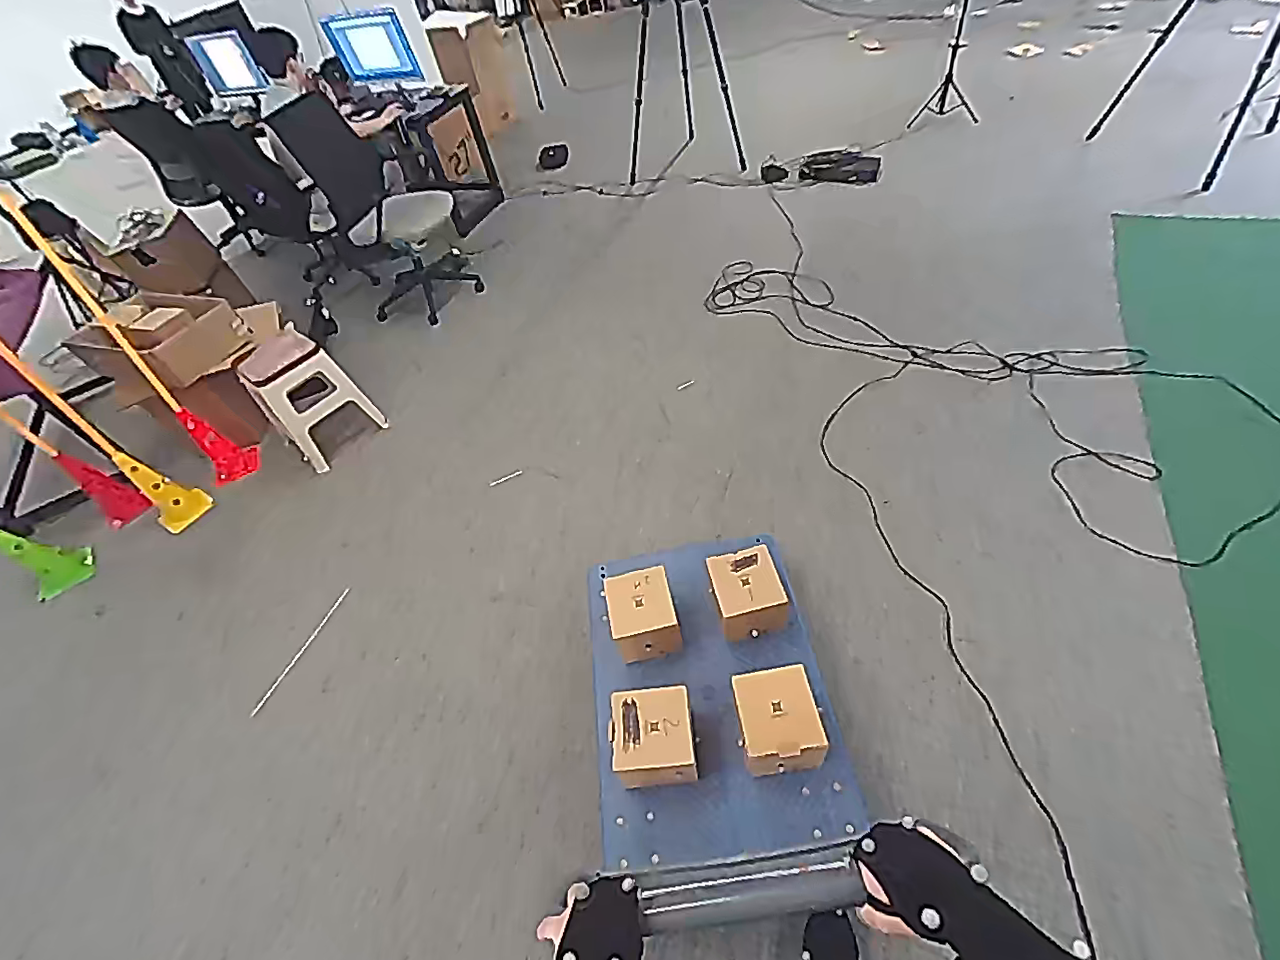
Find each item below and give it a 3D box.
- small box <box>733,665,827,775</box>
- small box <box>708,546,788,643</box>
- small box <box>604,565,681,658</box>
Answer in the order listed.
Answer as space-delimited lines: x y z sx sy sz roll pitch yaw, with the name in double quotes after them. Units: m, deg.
0.306 0.545 1.225 0.168 0.176 0.179 -10 50 2 "small box"
0.280 0.304 1.429 0.168 0.176 0.179 -13 50 0 "small box"
0.009 0.357 1.435 0.168 0.176 0.179 -12 49 -1 "small box"
